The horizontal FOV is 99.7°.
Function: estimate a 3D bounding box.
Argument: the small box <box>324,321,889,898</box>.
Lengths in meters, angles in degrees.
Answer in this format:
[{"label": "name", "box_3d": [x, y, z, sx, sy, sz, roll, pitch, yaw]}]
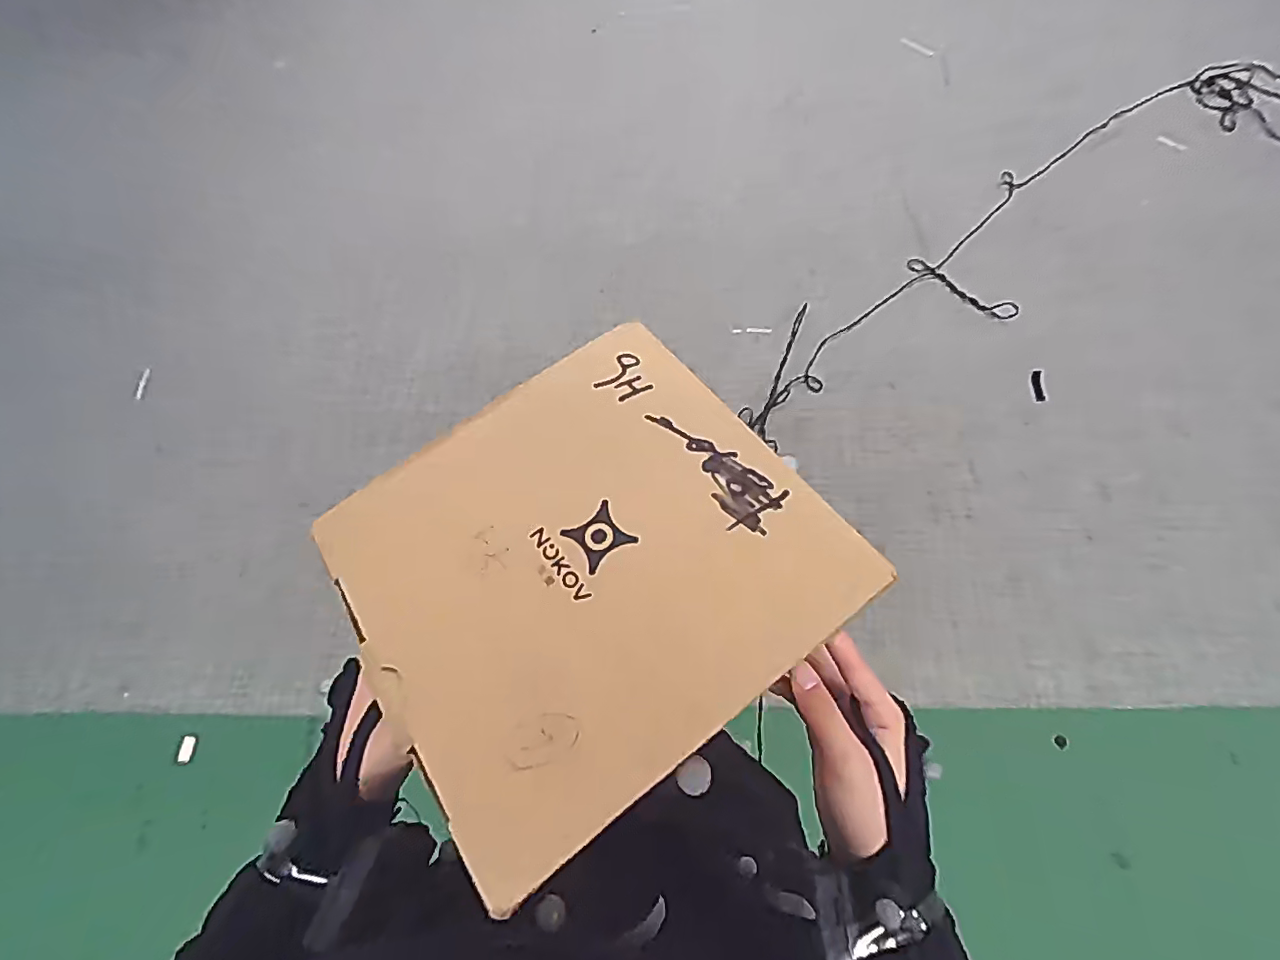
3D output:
[{"label": "small box", "box_3d": [-0.012, 0.062, 0.284, 0.179, 0.176, 0.168, -35, 65, -10]}]
